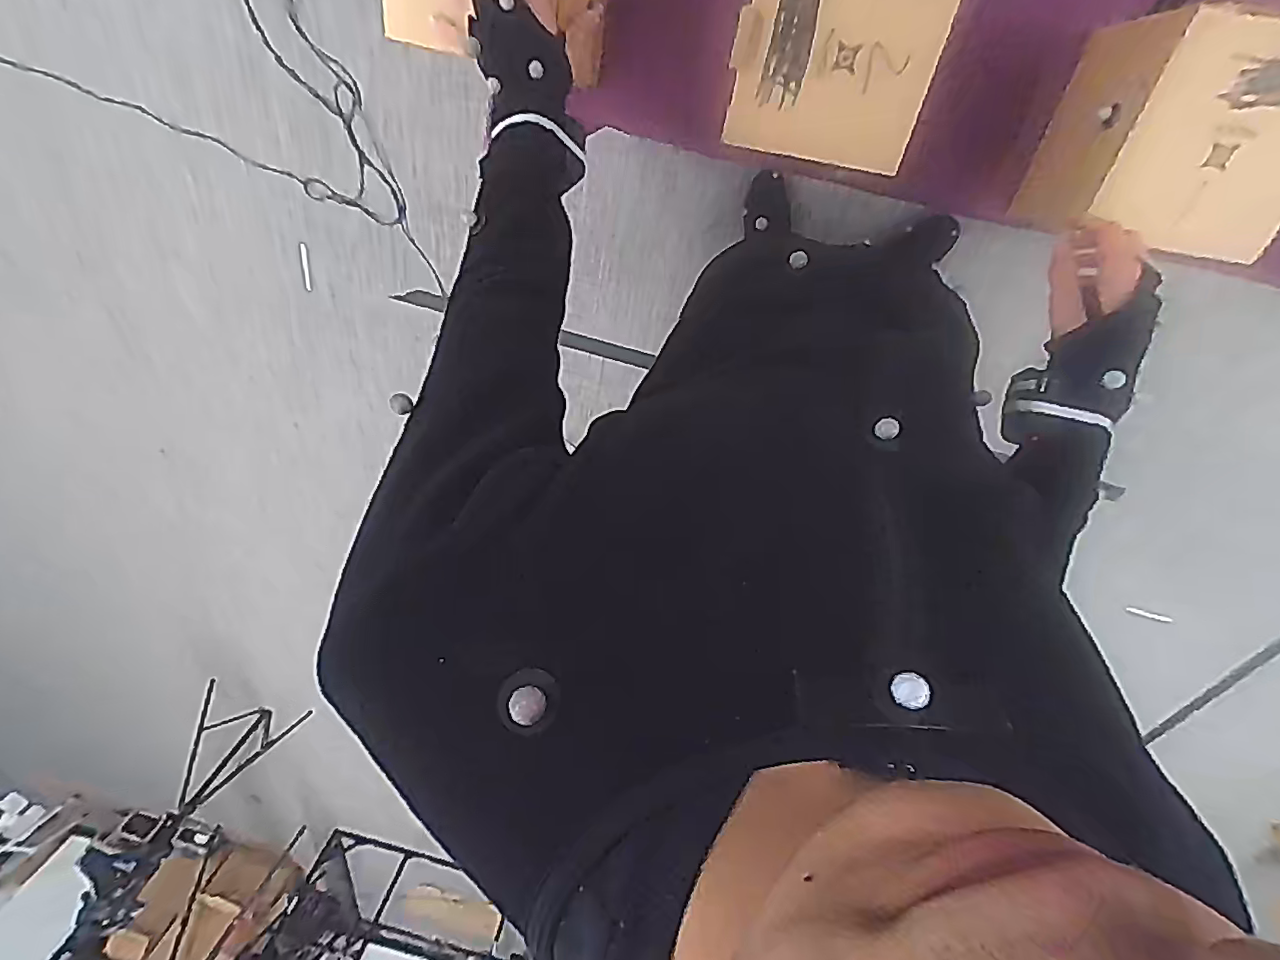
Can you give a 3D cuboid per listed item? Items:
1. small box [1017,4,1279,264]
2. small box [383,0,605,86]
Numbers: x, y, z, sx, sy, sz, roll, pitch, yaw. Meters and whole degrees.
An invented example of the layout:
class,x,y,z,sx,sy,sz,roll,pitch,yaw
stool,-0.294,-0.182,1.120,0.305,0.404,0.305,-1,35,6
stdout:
class,x,y,z,sx,sy,sz,roll,pitch,yaw
small box,0.522,-0.335,0.538,0.168,0.176,0.179,12,125,4
small box,-0.138,-0.520,0.551,0.179,0.176,0.168,14,124,2
